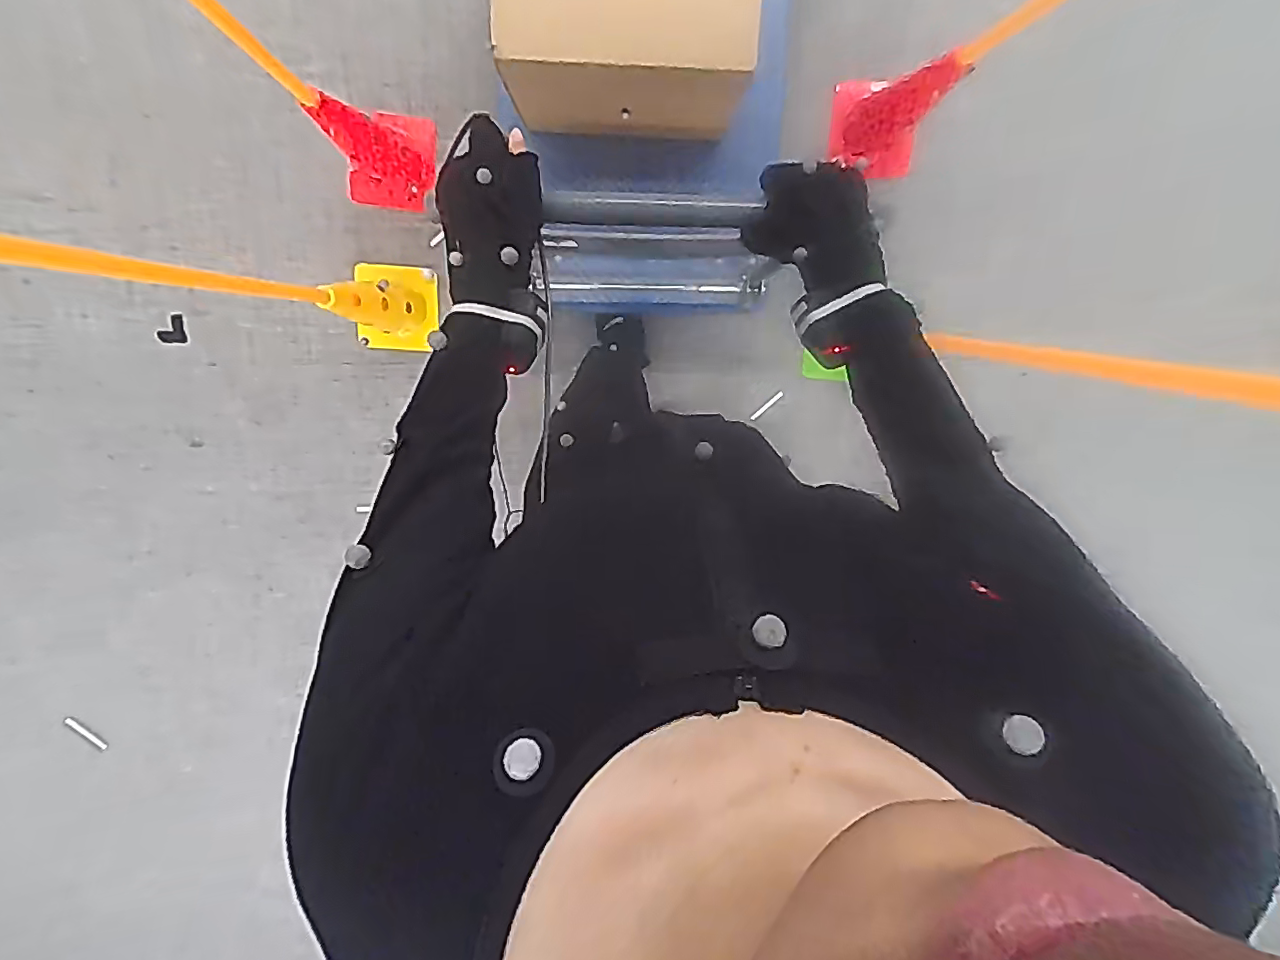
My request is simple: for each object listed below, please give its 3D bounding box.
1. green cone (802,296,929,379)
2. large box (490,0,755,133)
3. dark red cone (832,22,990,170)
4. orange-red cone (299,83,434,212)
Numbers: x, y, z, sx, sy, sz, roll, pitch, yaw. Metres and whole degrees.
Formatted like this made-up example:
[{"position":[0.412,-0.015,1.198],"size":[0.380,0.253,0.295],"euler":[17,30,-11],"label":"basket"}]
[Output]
[{"position":[0.532,-0.322,1.228],"size":[0.202,0.368,0.200],"euler":[3,104,-4],"label":"green cone"},{"position":[-0.026,-0.824,0.932],"size":[0.408,0.320,0.320],"euler":[1,105,-2],"label":"large box"},{"position":[0.555,-0.788,1.091],"size":[0.201,0.394,0.202],"euler":[-1,105,-4],"label":"dark red cone"},{"position":[-0.576,-0.705,1.096],"size":[0.198,0.360,0.199],"euler":[7,103,-5],"label":"orange-red cone"}]
